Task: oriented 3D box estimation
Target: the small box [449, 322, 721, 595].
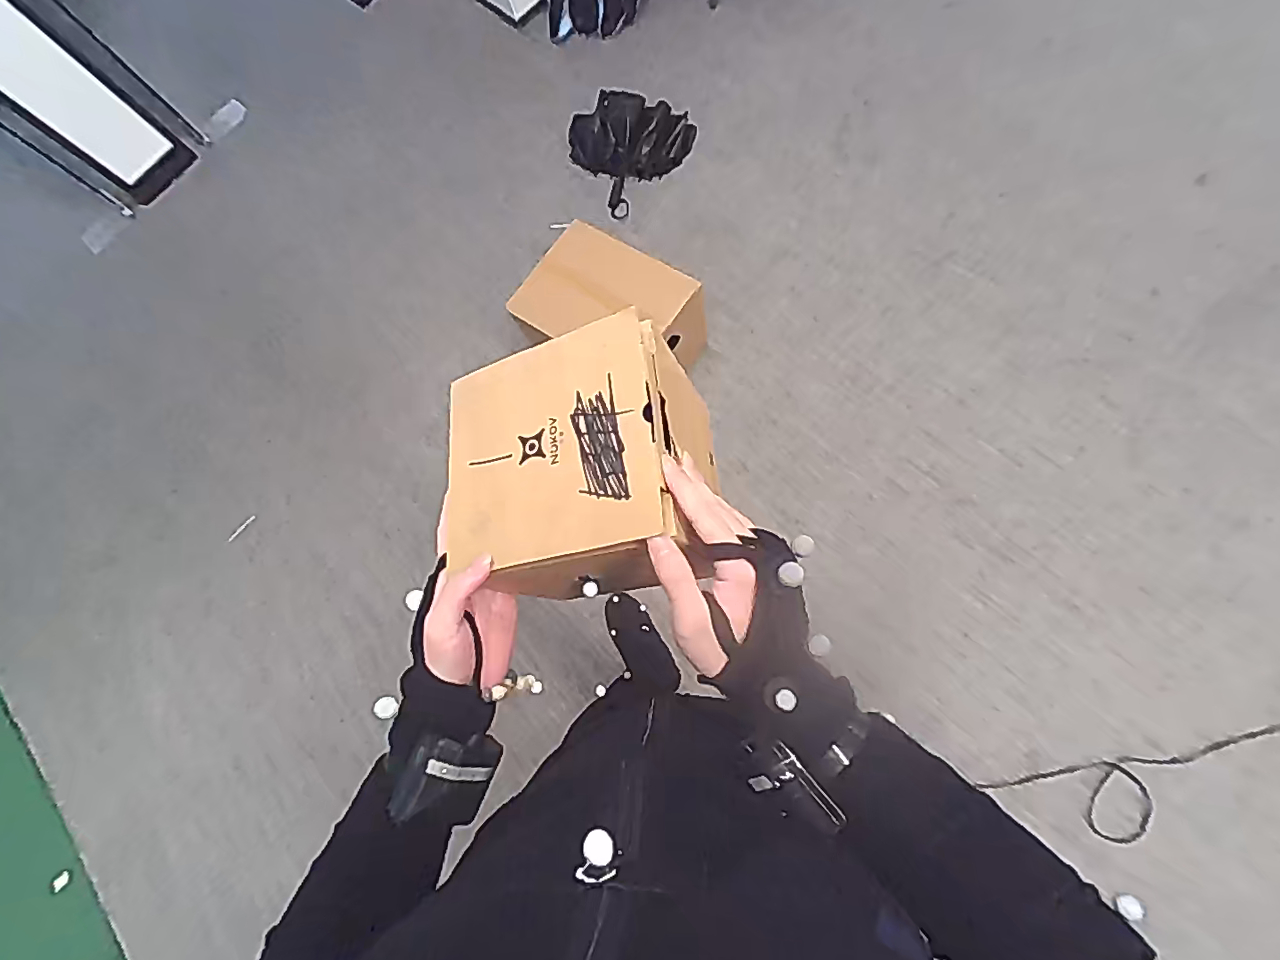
[{"bbox_3d":[-0.036,0.000,0.460,0.179,0.176,0.168,-13,69,19],"label":"small box"}]
